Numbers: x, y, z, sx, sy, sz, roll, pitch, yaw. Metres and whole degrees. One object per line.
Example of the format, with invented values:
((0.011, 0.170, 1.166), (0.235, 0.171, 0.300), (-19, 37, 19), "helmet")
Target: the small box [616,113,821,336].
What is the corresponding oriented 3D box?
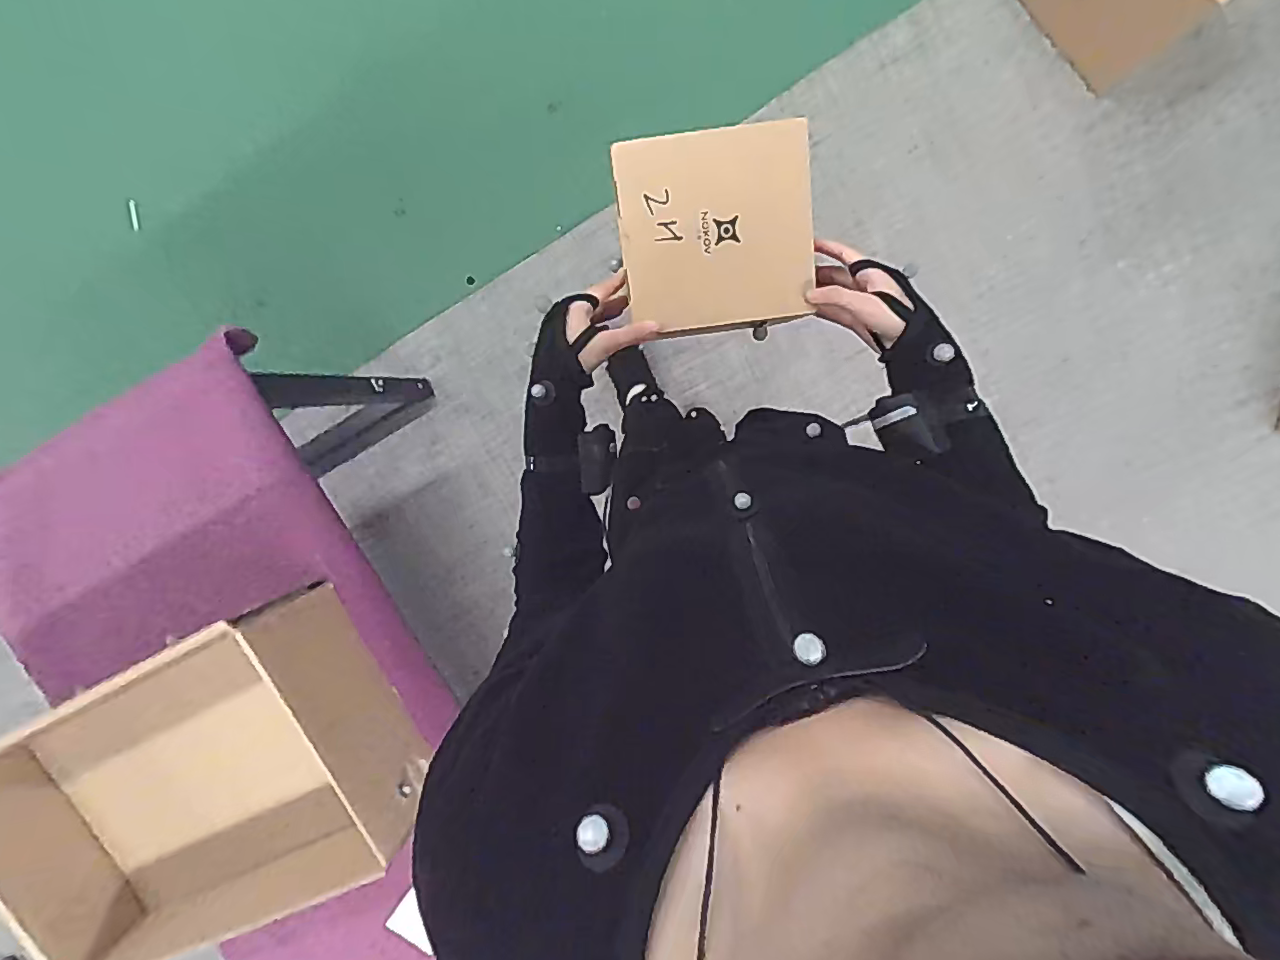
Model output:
((0.071, -0.244, 0.557), (0.179, 0.176, 0.168), (-6, 102, 1), "small box")
